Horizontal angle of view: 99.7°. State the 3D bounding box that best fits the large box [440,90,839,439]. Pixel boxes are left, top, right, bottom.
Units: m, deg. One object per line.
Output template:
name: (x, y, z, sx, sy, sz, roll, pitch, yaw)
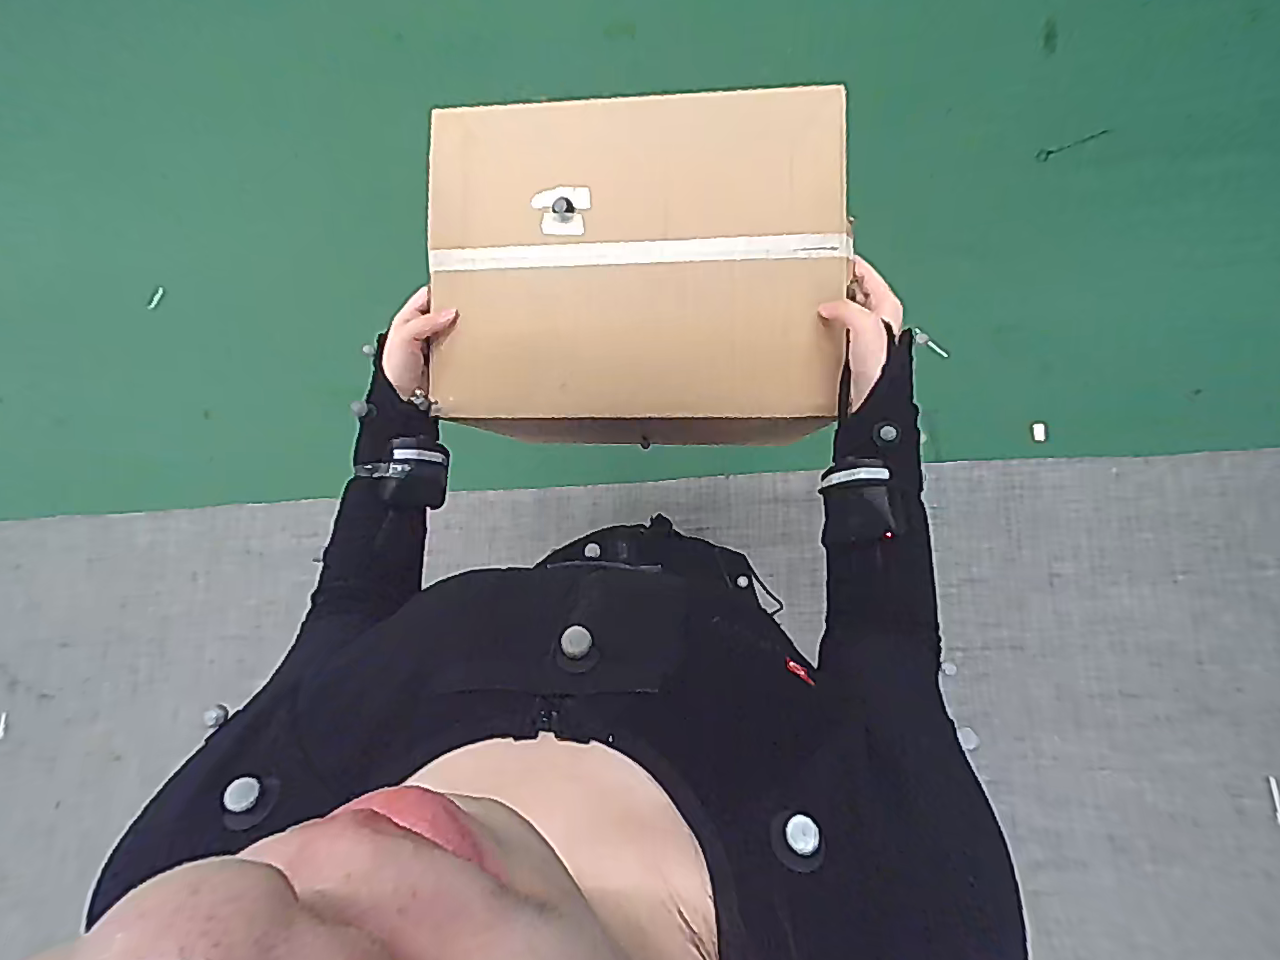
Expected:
large box: (0.011, -0.216, 0.683, 0.408, 0.320, 0.320, 0, 89, 7)
